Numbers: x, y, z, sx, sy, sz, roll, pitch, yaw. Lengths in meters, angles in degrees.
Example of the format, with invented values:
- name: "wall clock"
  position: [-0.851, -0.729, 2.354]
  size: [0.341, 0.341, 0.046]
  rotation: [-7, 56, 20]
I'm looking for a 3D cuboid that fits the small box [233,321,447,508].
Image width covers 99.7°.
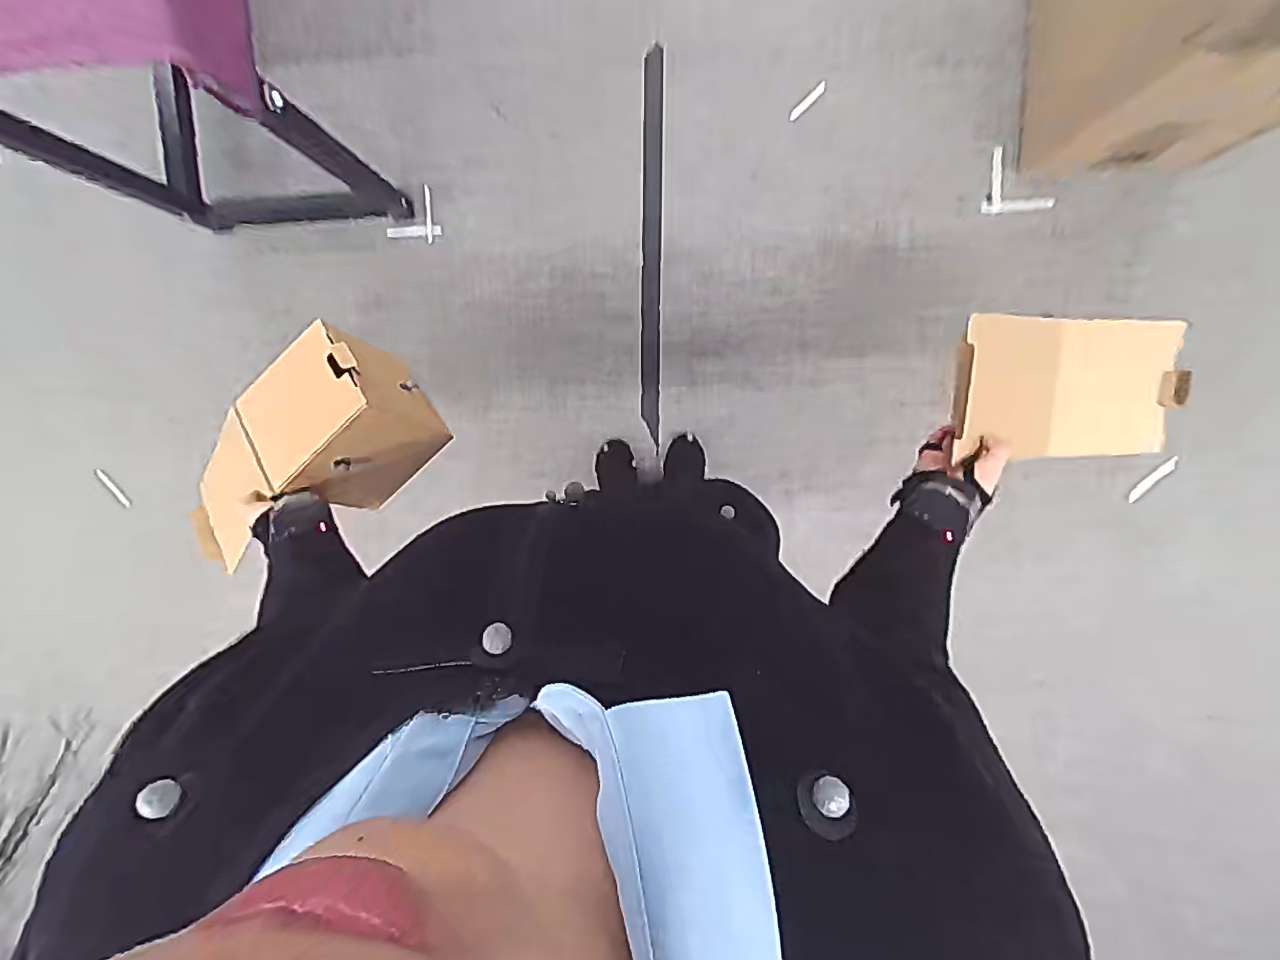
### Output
- name: "small box"
  position: [-0.416, -0.080, 0.768]
  size: [0.179, 0.176, 0.168]
  rotation: [-41, 69, 6]
